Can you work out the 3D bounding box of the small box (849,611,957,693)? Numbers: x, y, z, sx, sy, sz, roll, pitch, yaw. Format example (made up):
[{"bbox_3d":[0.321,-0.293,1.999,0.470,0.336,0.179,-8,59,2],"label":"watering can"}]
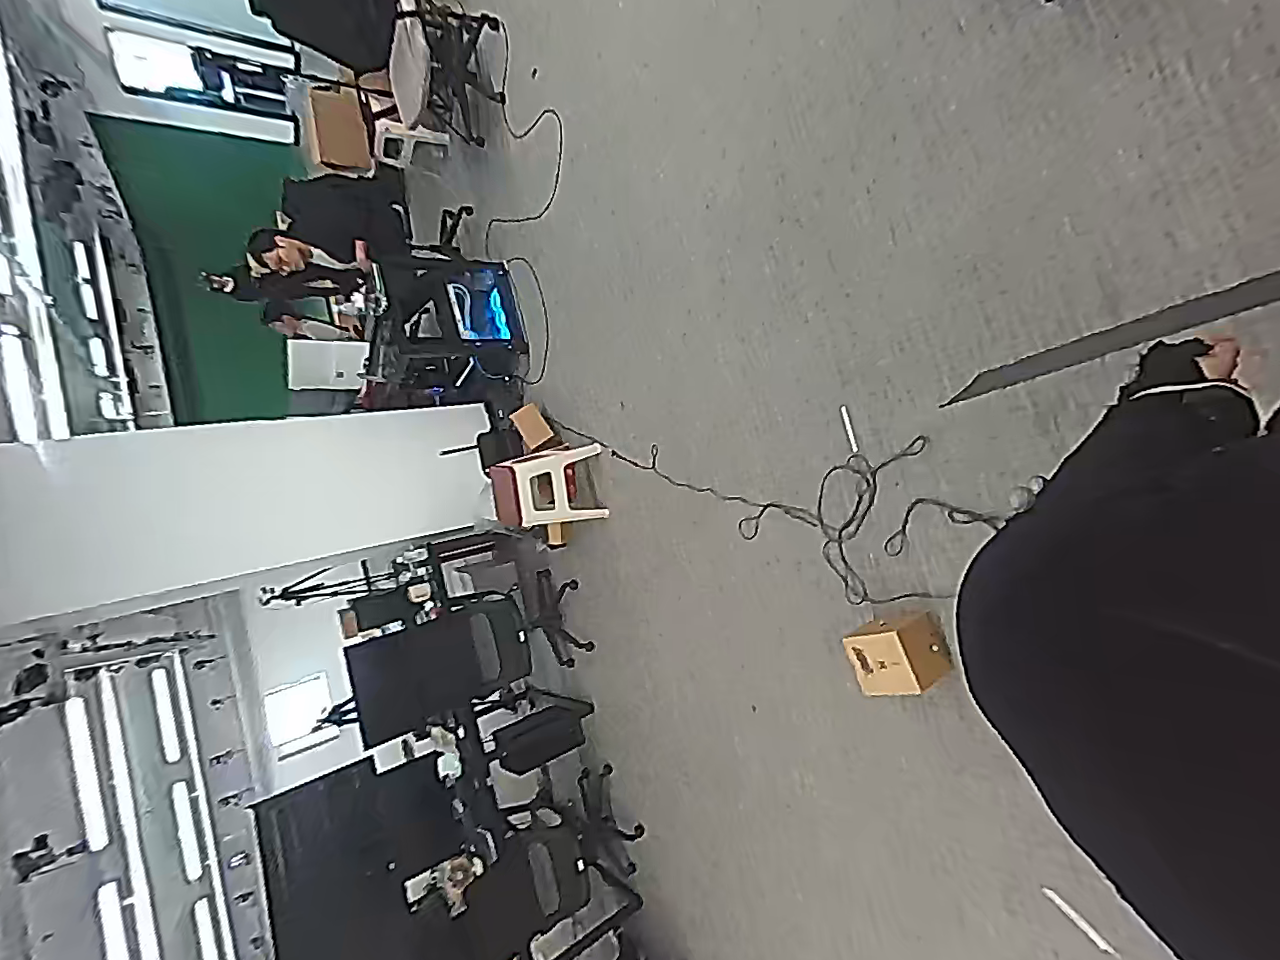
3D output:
[{"bbox_3d":[0.720,0.471,1.482,0.179,0.176,0.168,-34,73,54],"label":"small box"}]
